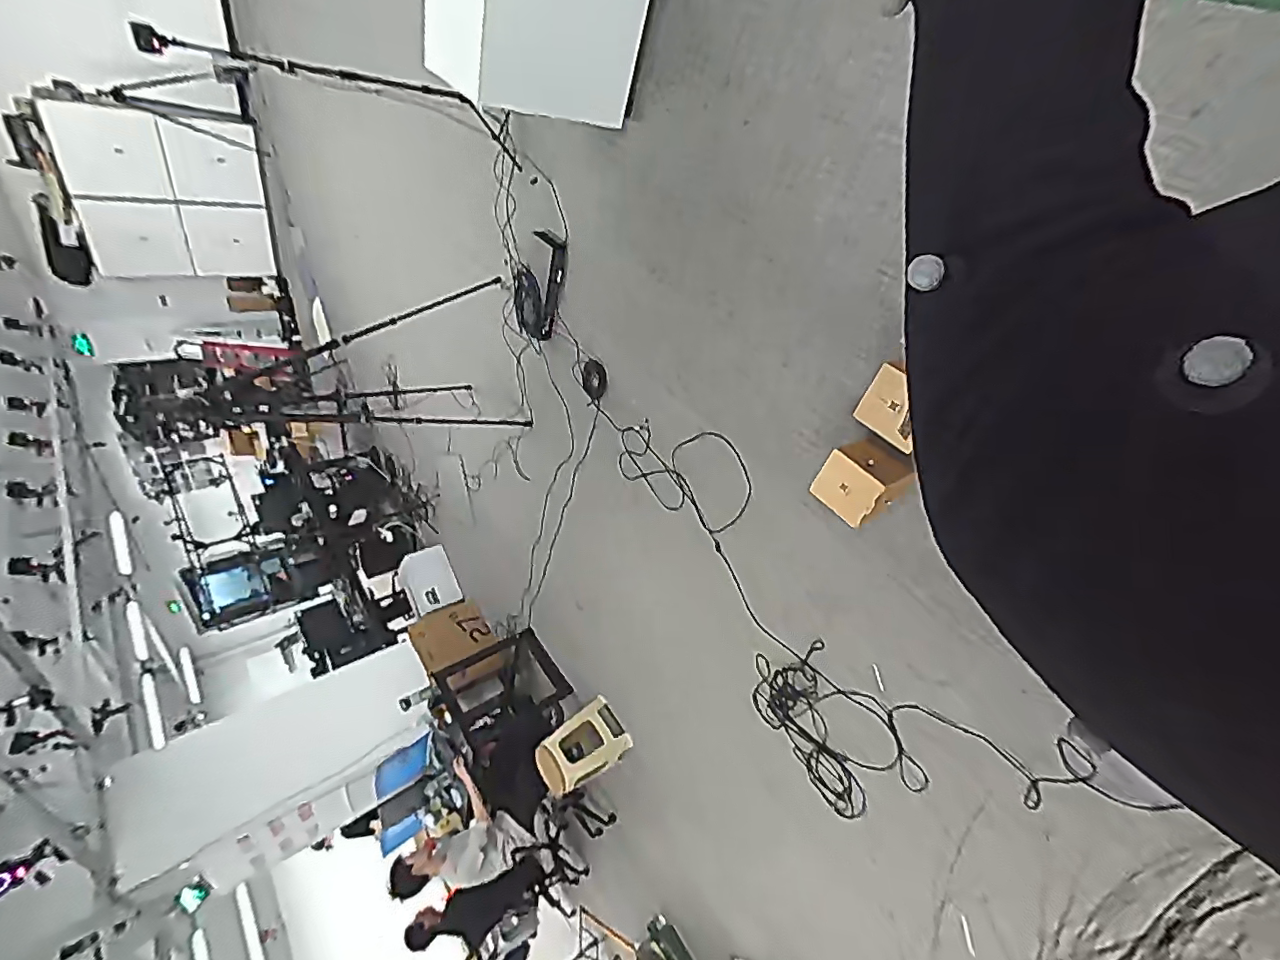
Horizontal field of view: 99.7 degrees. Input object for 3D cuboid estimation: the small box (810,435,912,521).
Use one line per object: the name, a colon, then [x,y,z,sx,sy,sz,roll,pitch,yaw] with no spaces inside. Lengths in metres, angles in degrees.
small box: [0.633,-0.014,1.549,0.179,0.176,0.168,46,136,30]

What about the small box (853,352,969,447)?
small box: [0.695,-0.213,1.384,0.179,0.176,0.168,47,137,31]
